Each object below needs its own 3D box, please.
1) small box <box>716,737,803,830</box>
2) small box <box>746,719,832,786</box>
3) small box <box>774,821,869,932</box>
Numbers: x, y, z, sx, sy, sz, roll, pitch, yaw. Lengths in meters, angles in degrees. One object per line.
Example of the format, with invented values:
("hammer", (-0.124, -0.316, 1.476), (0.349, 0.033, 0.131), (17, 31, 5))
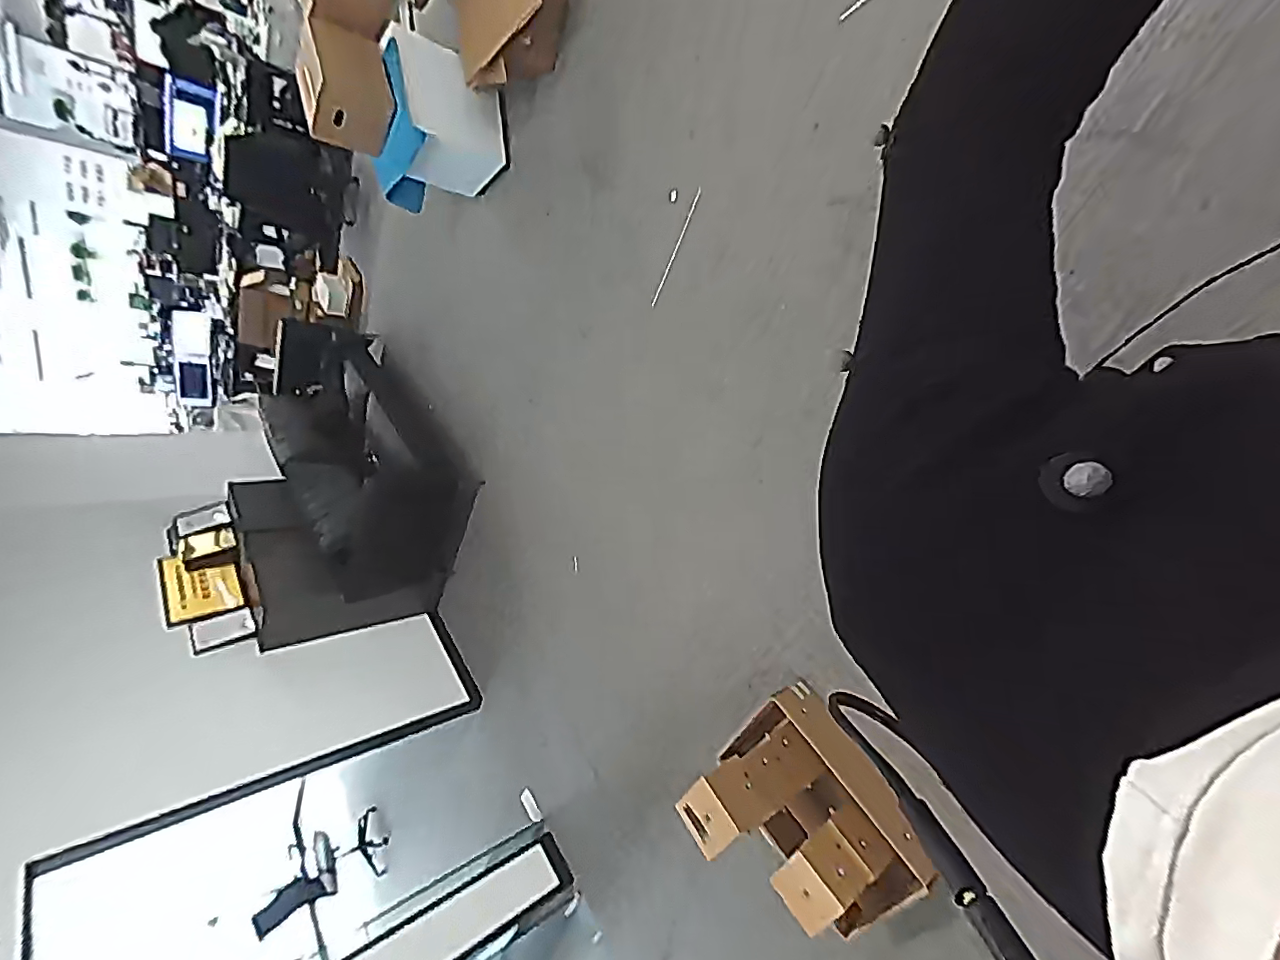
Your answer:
("small box", (0.378, 0.936, 1.682), (0.168, 0.176, 0.179), (52, 128, 31))
("small box", (0.495, 0.921, 1.794), (0.179, 0.176, 0.168), (51, 127, 30))
("small box", (0.524, 1.122, 1.544), (0.168, 0.176, 0.179), (45, 124, 35))
